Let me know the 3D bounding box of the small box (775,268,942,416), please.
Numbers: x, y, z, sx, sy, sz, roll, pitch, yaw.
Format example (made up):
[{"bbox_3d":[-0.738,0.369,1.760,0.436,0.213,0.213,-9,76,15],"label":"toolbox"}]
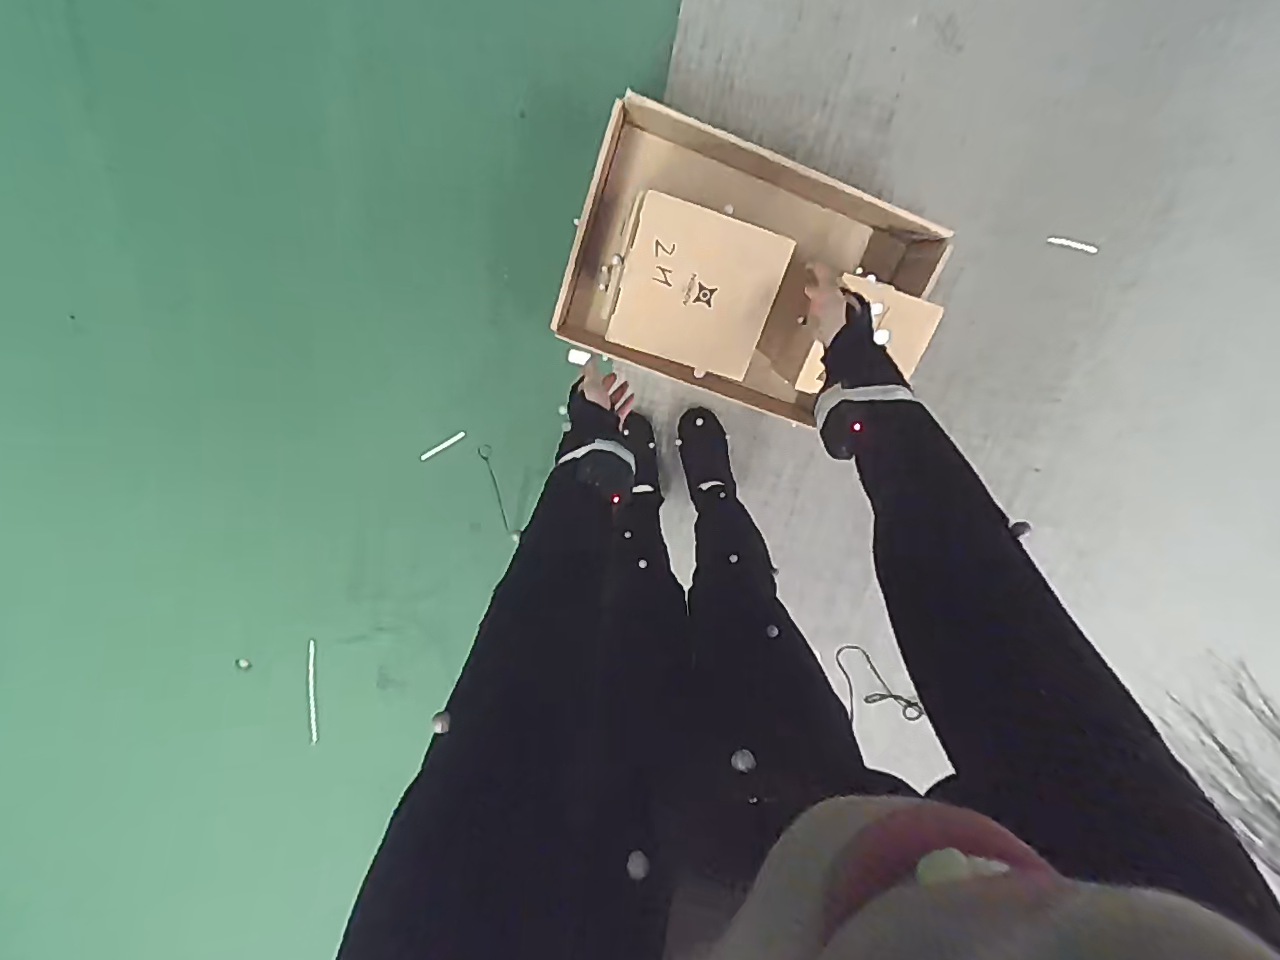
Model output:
[{"bbox_3d":[0.334,-0.229,0.874,0.168,0.176,0.179,16,112,-8],"label":"small box"}]

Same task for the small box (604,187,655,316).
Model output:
[{"bbox_3d":[0.046,-0.322,0.828,0.168,0.176,0.179,17,113,-10],"label":"small box"}]

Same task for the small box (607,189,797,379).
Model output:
[{"bbox_3d":[0.064,-0.247,0.682,0.179,0.176,0.168,15,113,-10],"label":"small box"}]
